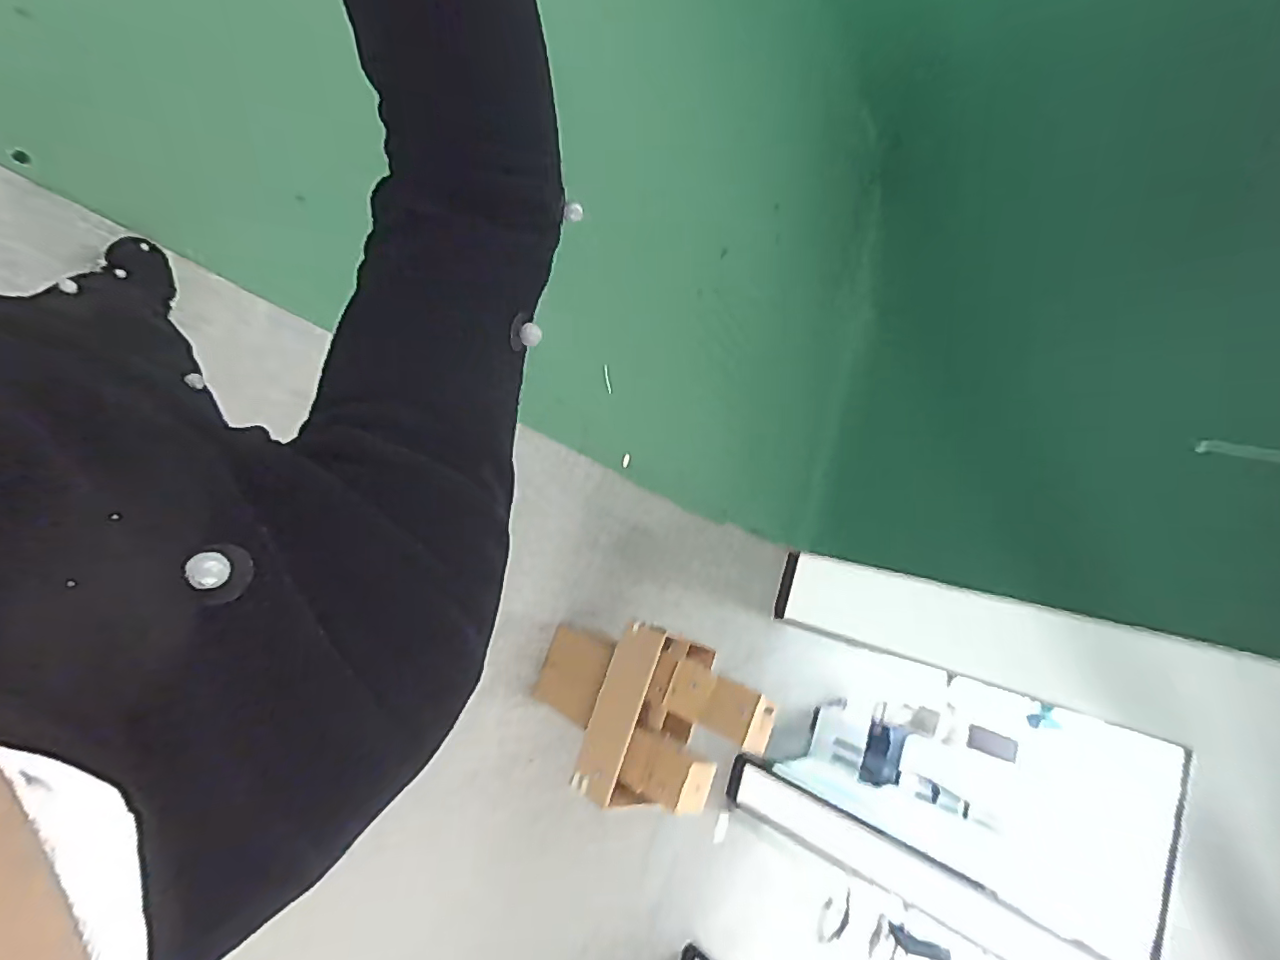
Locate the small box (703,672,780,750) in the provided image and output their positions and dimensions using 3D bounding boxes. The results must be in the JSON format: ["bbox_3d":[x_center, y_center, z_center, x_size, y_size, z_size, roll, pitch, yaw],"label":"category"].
[{"bbox_3d":[0.334,0.762,1.793,0.168,0.176,0.179,41,68,-44],"label":"small box"}]

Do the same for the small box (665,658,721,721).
[{"bbox_3d":[0.214,0.745,1.905,0.179,0.176,0.168,37,70,-45],"label":"small box"}]

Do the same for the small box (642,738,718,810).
[{"bbox_3d":[0.135,1.010,1.866,0.179,0.176,0.168,34,73,-46],"label":"small box"}]
